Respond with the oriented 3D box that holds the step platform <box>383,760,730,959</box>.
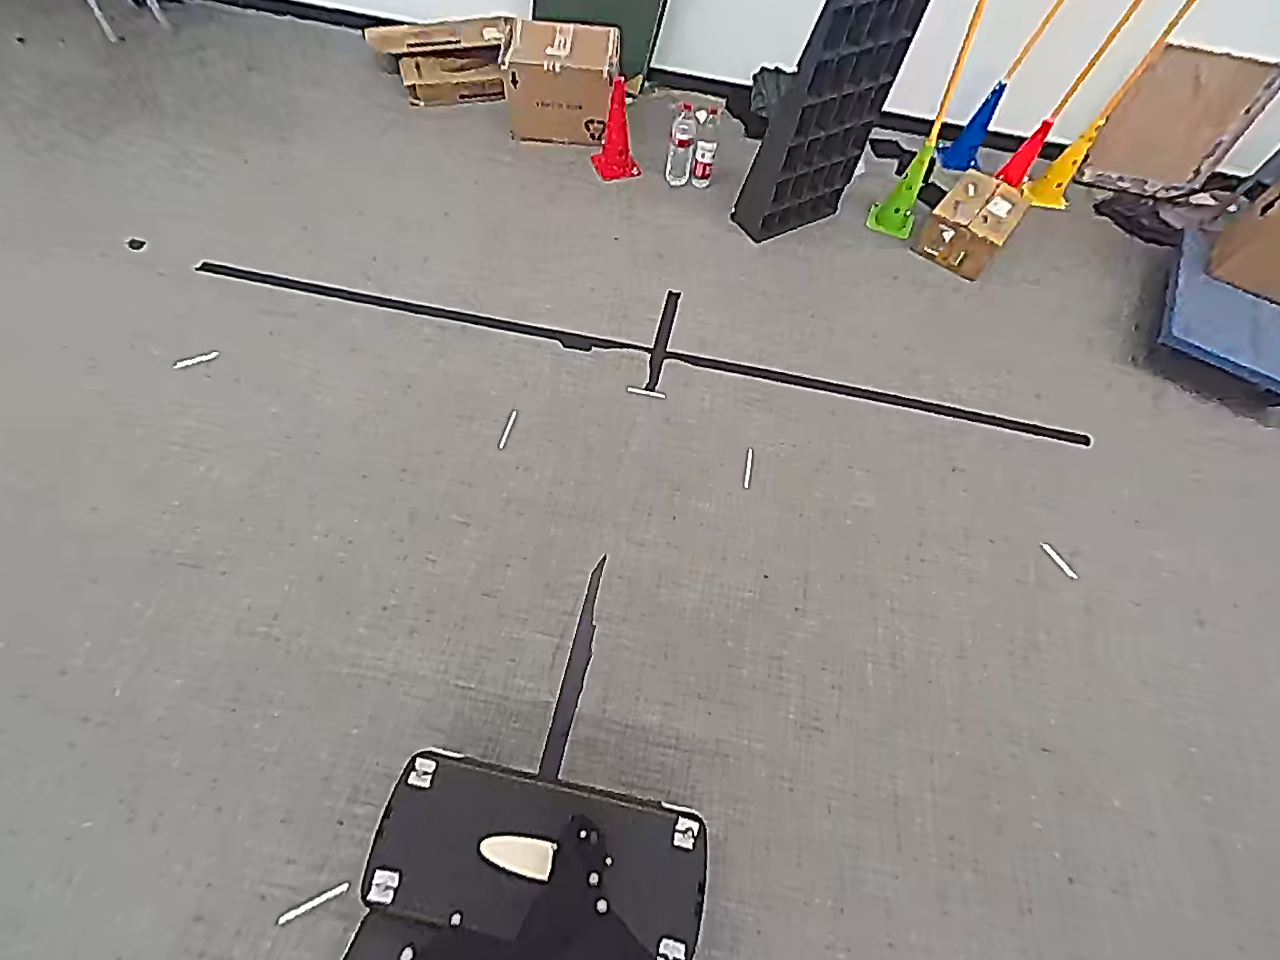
[{"bbox_3d":[-0.161,0.835,1.130,0.684,0.204,0.286,16,59,4],"label":"step platform"}]
